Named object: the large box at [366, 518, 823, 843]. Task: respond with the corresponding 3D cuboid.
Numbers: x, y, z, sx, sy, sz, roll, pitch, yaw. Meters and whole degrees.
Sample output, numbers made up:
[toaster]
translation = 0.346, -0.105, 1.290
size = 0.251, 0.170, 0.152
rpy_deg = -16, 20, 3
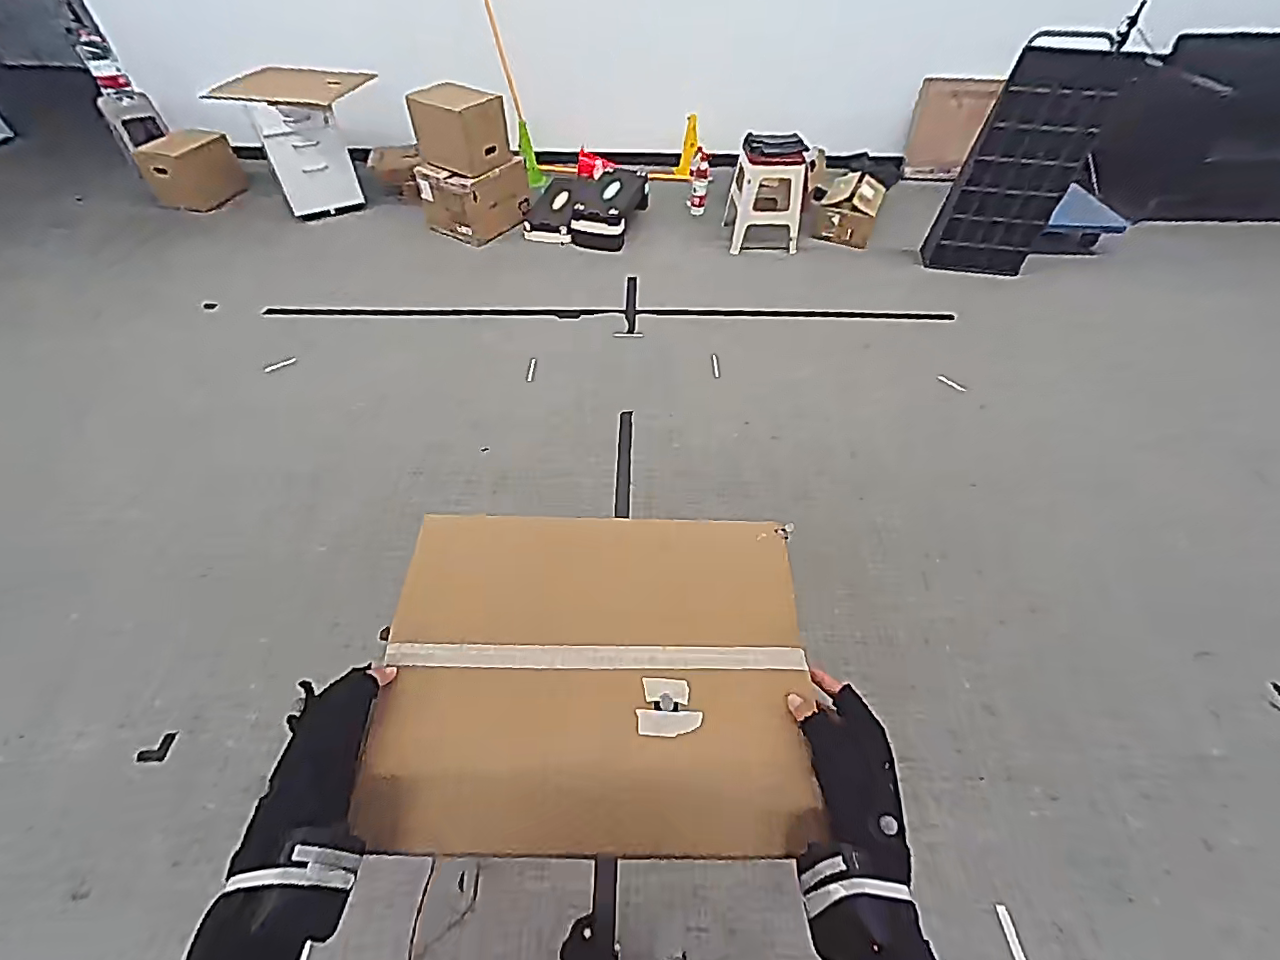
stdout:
[large box]
translation = -0.044, 0.259, 0.669
size = 0.408, 0.320, 0.320
rpy_deg = 2, 56, -1
